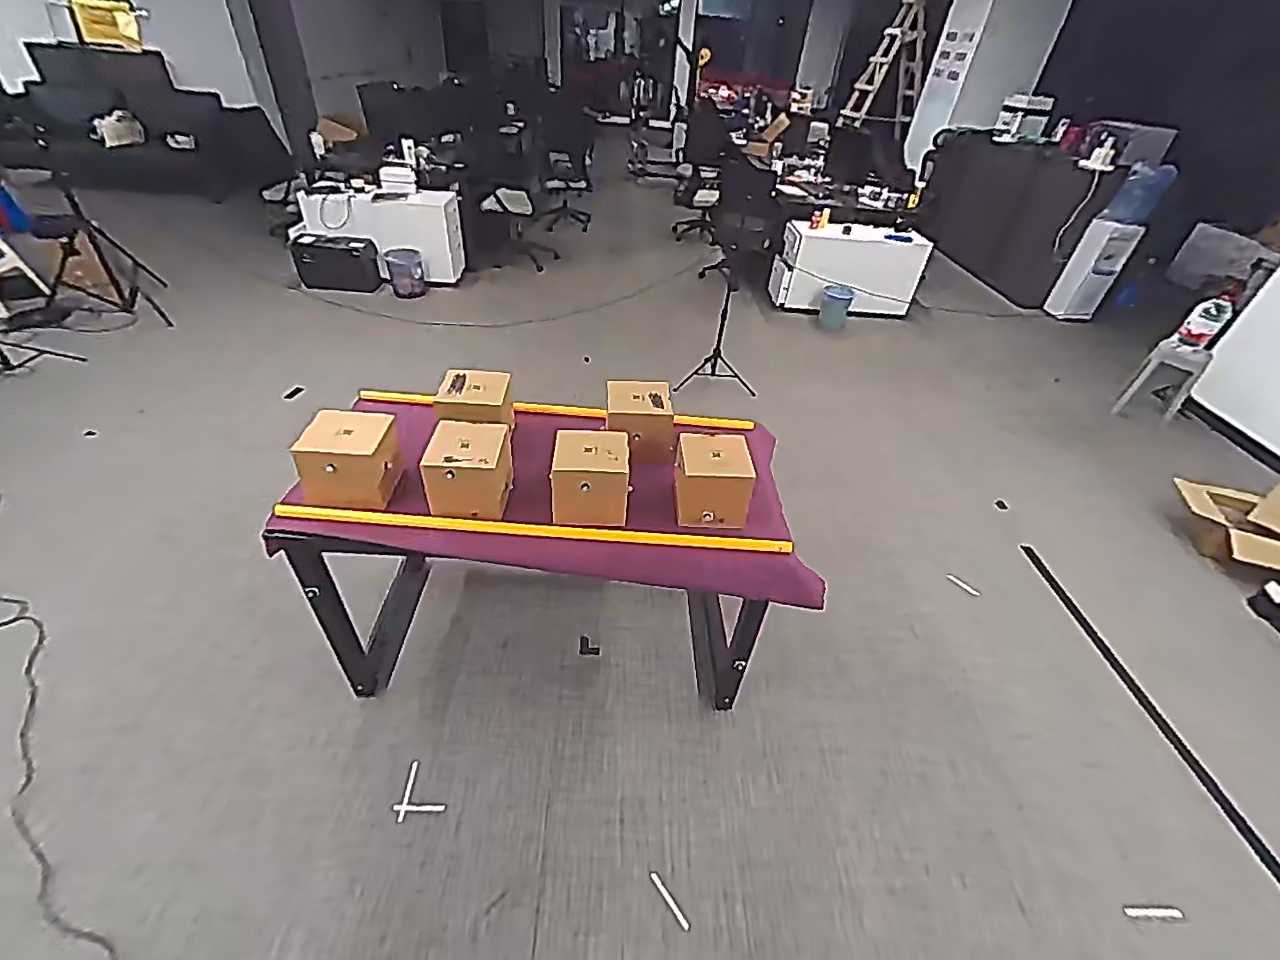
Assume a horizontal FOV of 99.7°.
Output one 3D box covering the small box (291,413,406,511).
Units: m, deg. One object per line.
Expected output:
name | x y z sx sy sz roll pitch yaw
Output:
small box | -0.682 -0.040 1.293 0.179 0.176 0.168 3 39 -4

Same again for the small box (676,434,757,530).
small box | 0.181 0.003 1.338 0.168 0.176 0.179 1 37 -2

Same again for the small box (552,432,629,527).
small box | -0.117 0.000 1.309 0.179 0.176 0.168 2 38 -5

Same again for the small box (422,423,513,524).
small box | -0.403 -0.016 1.298 0.168 0.176 0.179 3 39 -3

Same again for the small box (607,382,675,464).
small box | -0.004 -0.158 1.515 0.179 0.176 0.168 1 41 -4
